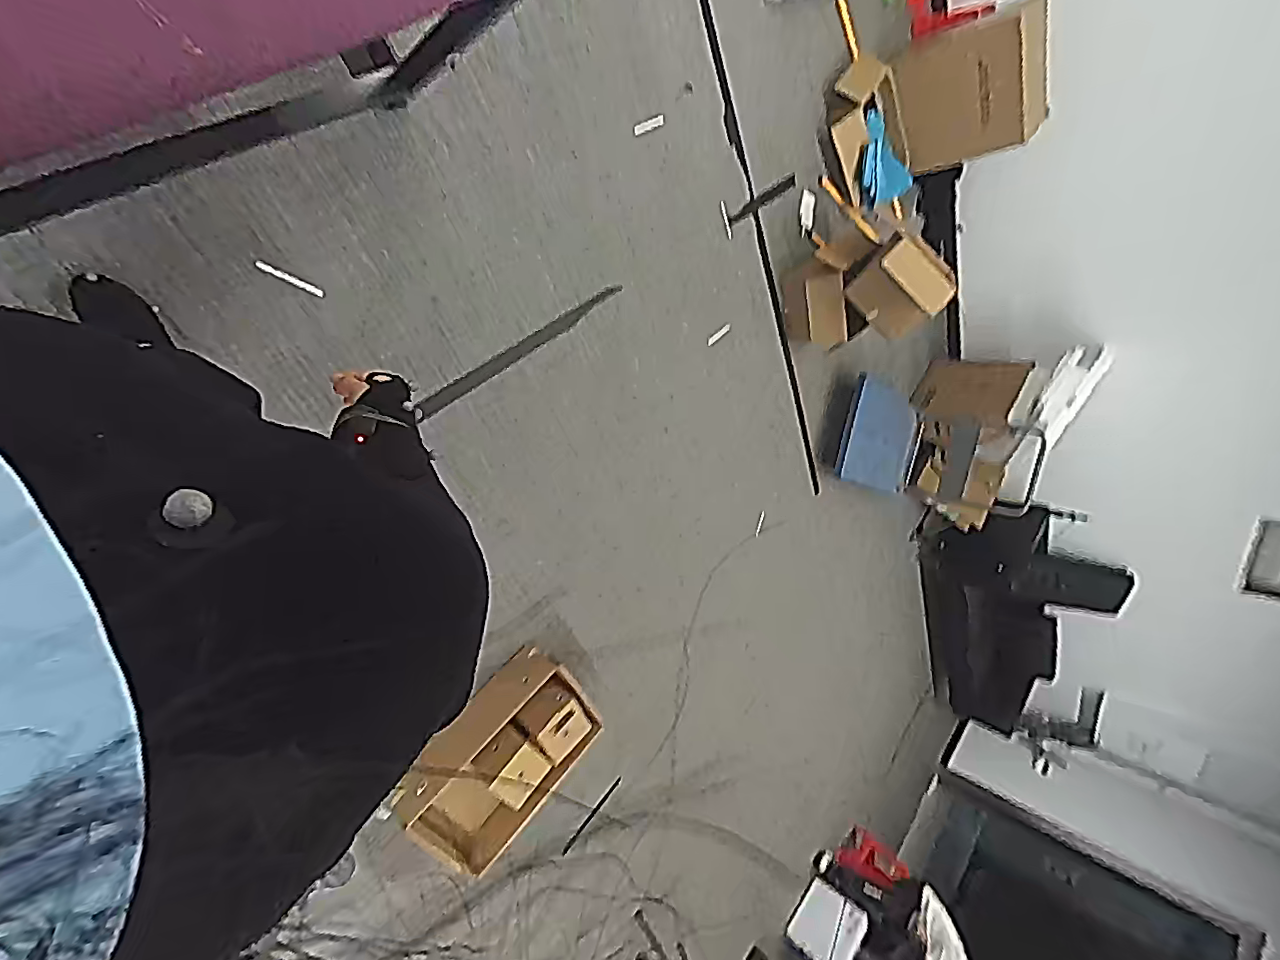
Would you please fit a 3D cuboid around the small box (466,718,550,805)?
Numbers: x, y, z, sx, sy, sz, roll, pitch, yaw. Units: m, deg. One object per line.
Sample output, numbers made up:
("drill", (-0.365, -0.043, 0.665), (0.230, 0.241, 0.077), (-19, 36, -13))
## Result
("small box", (-0.439, 0.920, 1.785), (0.168, 0.176, 0.179), (-47, 128, -24))
